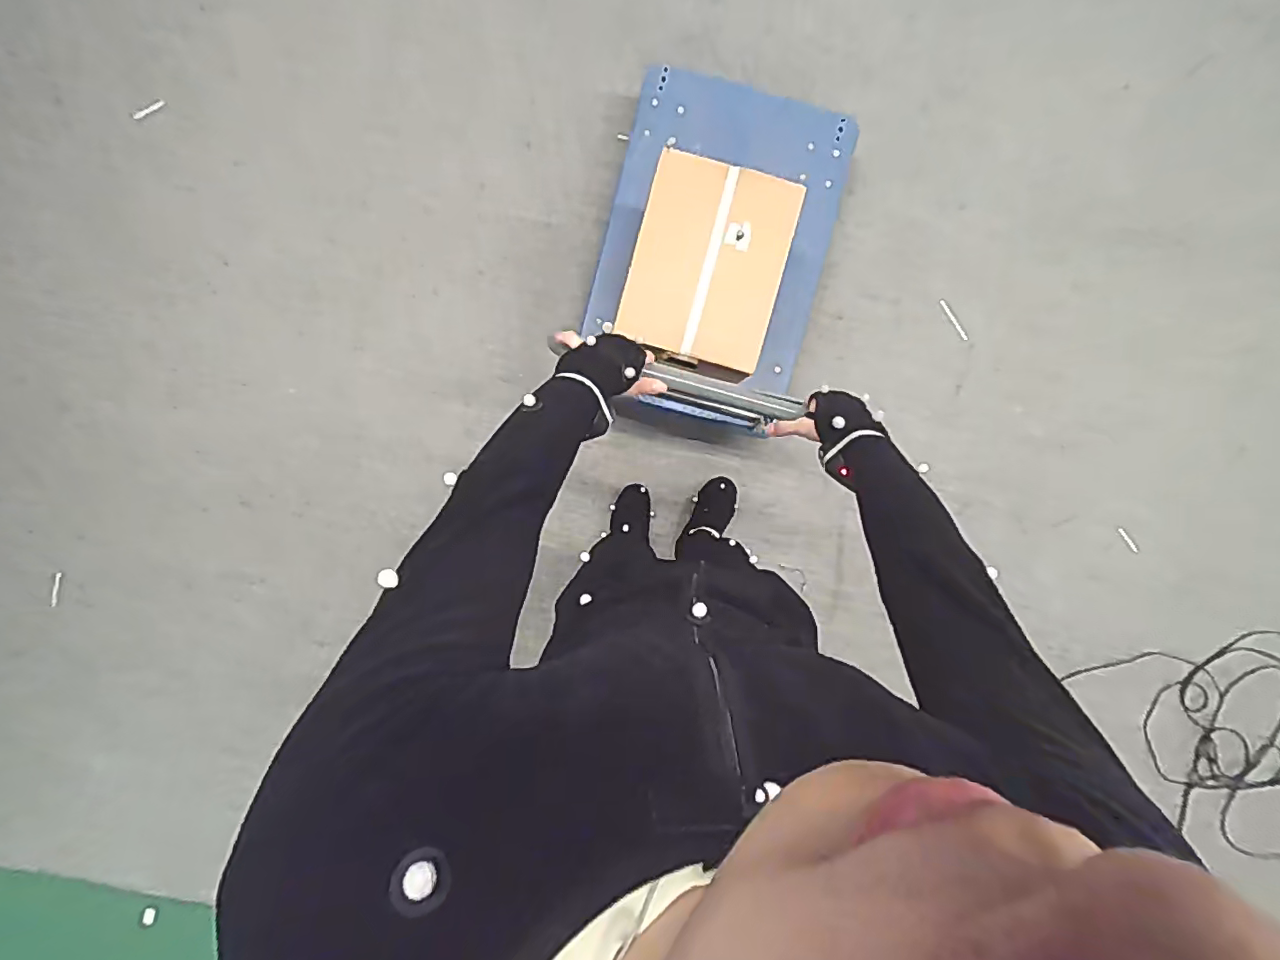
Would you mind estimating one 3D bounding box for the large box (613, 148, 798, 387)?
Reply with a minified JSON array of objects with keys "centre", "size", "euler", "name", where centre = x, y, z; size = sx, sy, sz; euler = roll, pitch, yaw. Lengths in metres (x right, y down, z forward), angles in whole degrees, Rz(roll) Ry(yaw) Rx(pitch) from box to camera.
[{"centre":[0.135,-0.465,1.276],"size":[0.320,0.320,0.408],"euler":[15,91,-2],"name":"large box"}]
